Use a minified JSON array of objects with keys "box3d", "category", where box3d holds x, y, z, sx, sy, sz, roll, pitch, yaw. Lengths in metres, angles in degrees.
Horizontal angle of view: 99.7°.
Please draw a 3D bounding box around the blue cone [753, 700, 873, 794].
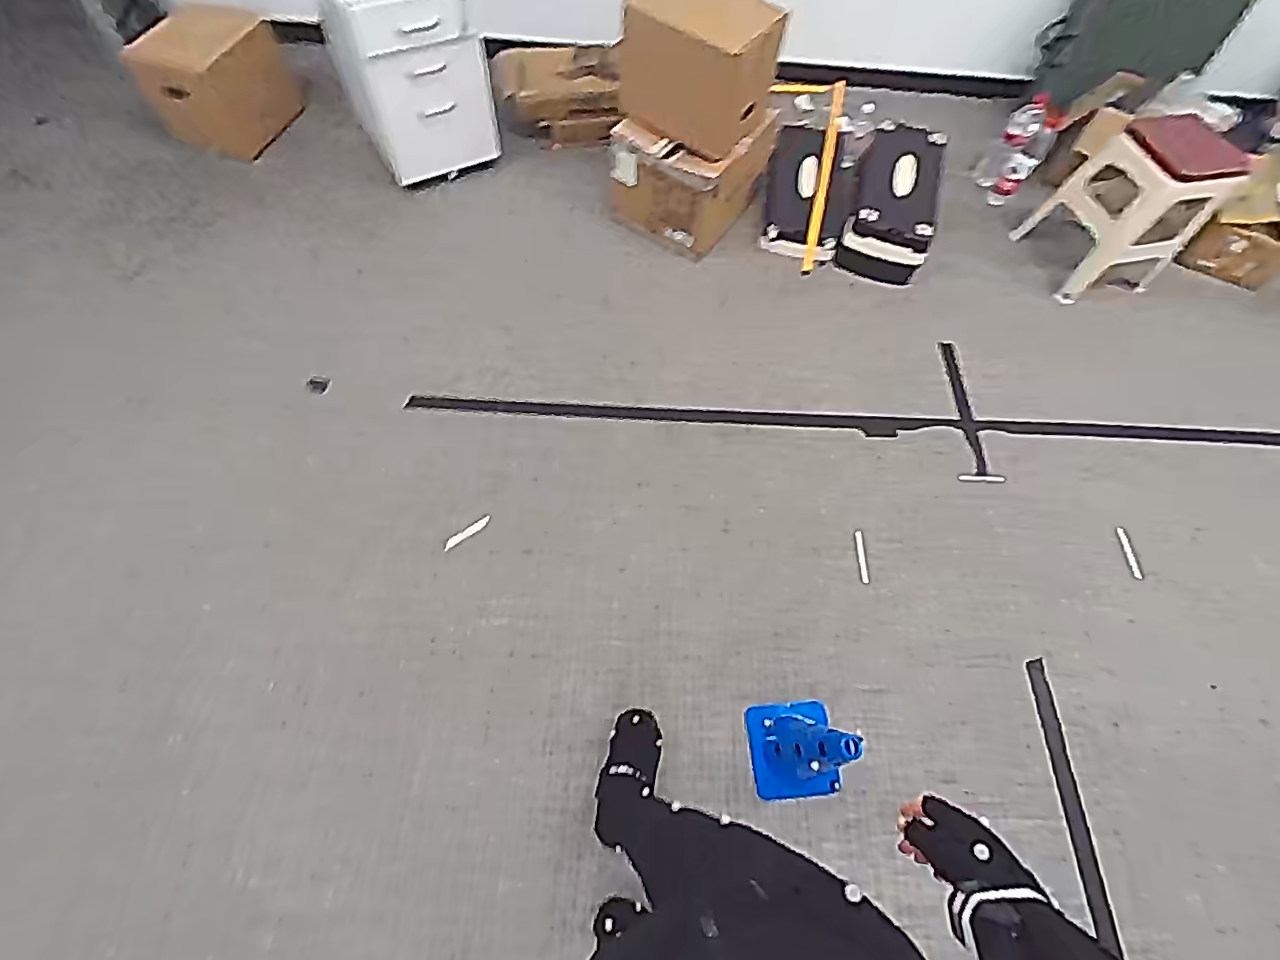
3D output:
[{"box3d":[0.373,0.547,1.117,0.192,0.380,0.193,-2,63,-5],"category":"blue cone"}]
